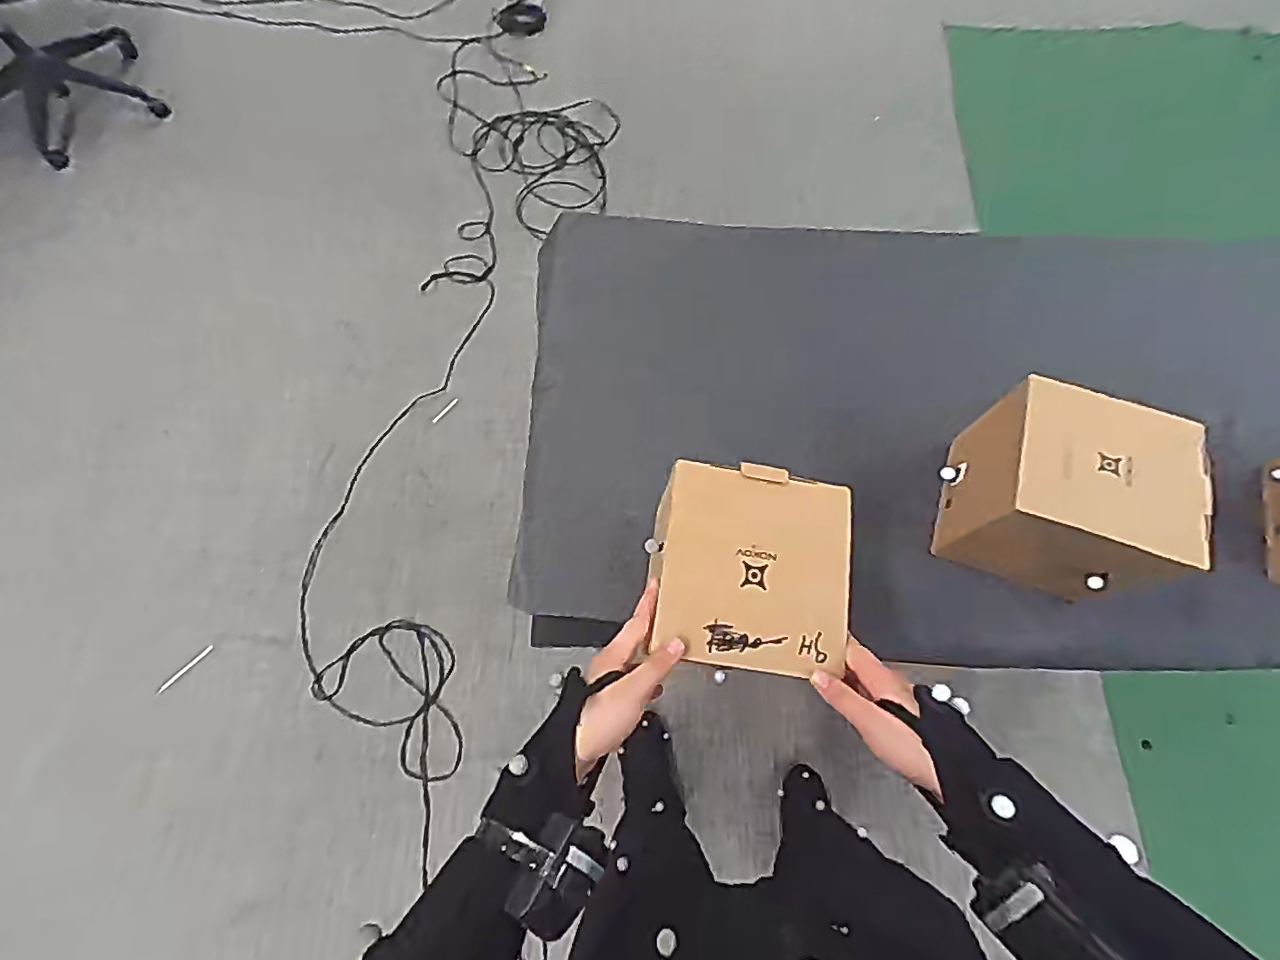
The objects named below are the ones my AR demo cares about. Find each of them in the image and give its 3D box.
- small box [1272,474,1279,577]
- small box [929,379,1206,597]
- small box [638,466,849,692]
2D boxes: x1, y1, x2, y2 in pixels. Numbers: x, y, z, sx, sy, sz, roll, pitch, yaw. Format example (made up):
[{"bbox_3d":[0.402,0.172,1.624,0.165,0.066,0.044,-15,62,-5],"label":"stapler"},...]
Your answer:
[{"bbox_3d":[0.856,0.048,0.583,0.179,0.176,0.168,20,70,9],"label":"small box"},{"bbox_3d":[0.461,0.020,0.604,0.179,0.176,0.168,18,68,9],"label":"small box"},{"bbox_3d":[0.093,0.105,0.548,0.168,0.176,0.179,10,73,-1],"label":"small box"}]
